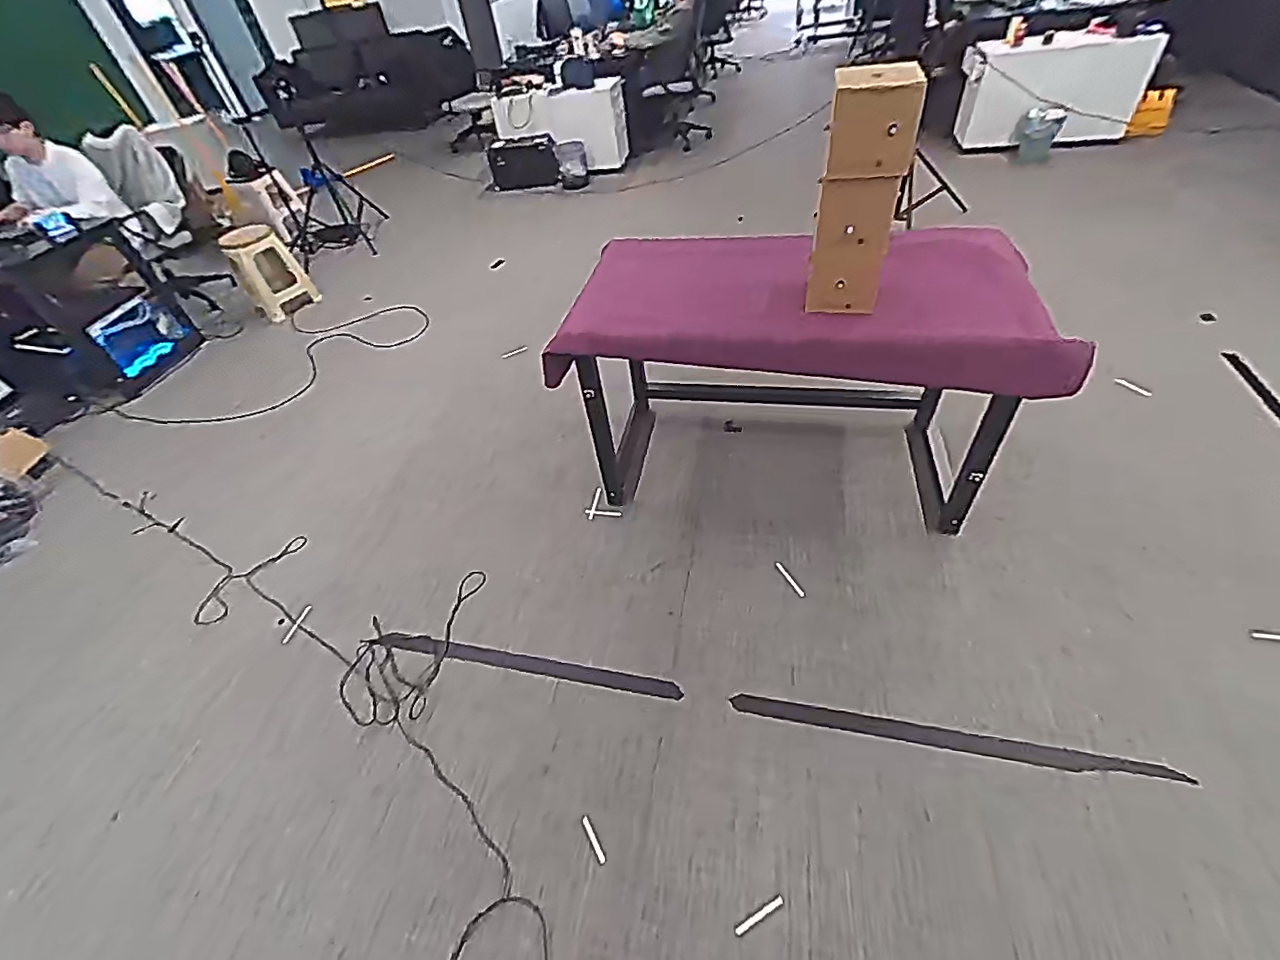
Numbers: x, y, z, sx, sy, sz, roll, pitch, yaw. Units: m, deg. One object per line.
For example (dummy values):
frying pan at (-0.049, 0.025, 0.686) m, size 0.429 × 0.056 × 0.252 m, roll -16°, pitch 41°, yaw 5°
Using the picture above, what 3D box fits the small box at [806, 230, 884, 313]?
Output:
small box at (0.529, -0.548, 1.401) m, size 0.168 × 0.176 × 0.179 m, roll 7°, pitch 48°, yaw 15°

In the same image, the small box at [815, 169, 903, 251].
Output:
small box at (0.514, -0.664, 1.285) m, size 0.168 × 0.176 × 0.179 m, roll 7°, pitch 48°, yaw 15°

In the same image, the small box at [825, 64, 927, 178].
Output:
small box at (0.493, -0.759, 1.154) m, size 0.168 × 0.176 × 0.179 m, roll 5°, pitch 47°, yaw 12°
